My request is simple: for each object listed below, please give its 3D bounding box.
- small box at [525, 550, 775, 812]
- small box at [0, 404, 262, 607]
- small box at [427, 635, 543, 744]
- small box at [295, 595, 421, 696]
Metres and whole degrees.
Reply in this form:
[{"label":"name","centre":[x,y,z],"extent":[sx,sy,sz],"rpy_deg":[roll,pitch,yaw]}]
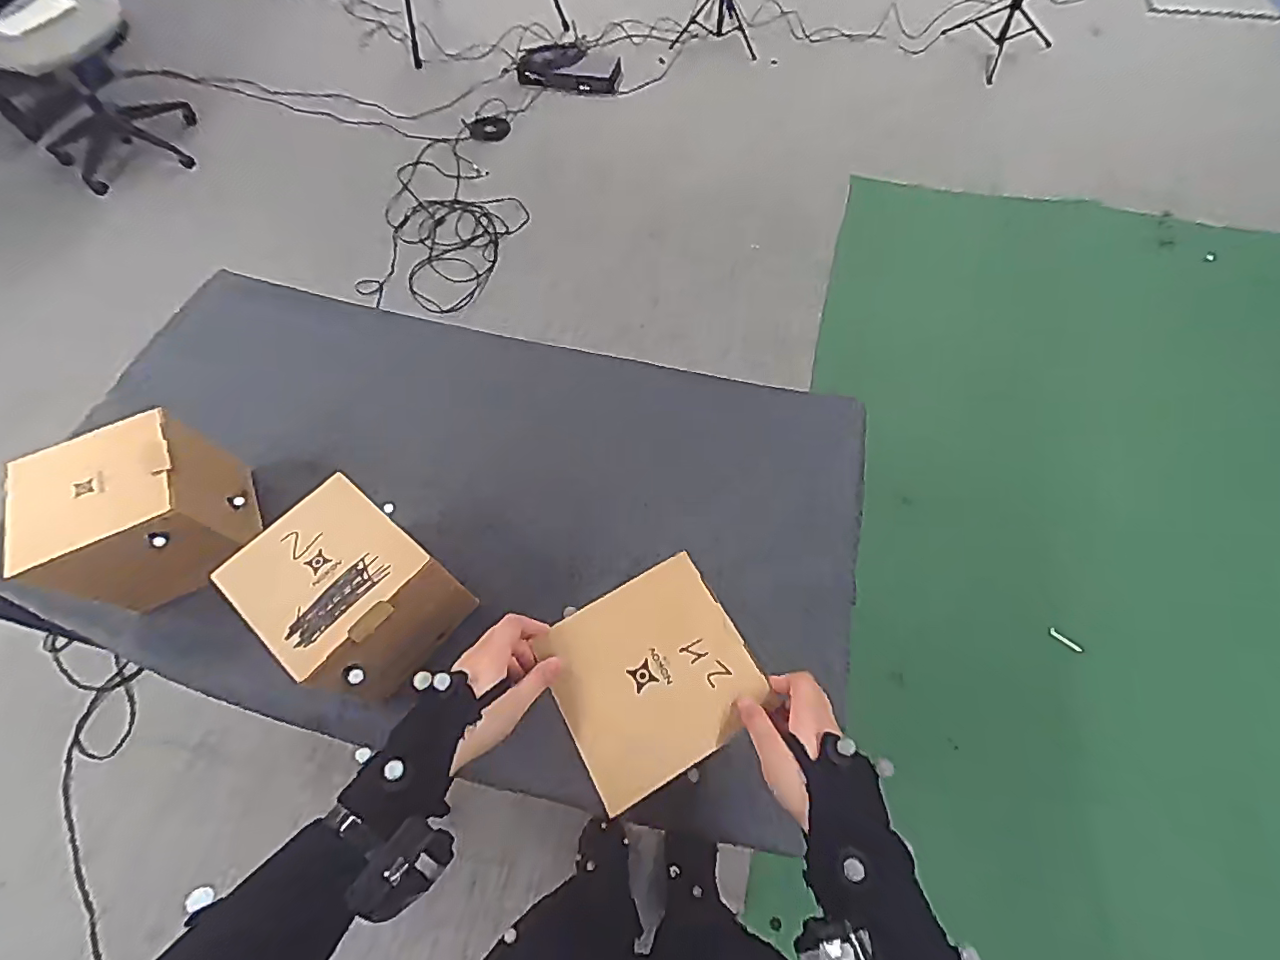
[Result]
[{"label":"small box","centre":[0.010,0.202,0.555],"extent":[0.179,0.176,0.168],"rpy_deg":[-28,69,-10]},{"label":"small box","centre":[-0.636,0.041,0.695],"extent":[0.179,0.176,0.168],"rpy_deg":[-26,64,-11]},{"label":"small box","centre":[-0.351,0.493,1.266],"extent":[0.179,0.176,0.168],"rpy_deg":[30,67,19]},{"label":"small box","centre":[-0.681,0.410,1.324],"extent":[0.179,0.176,0.168],"rpy_deg":[23,66,15]}]
